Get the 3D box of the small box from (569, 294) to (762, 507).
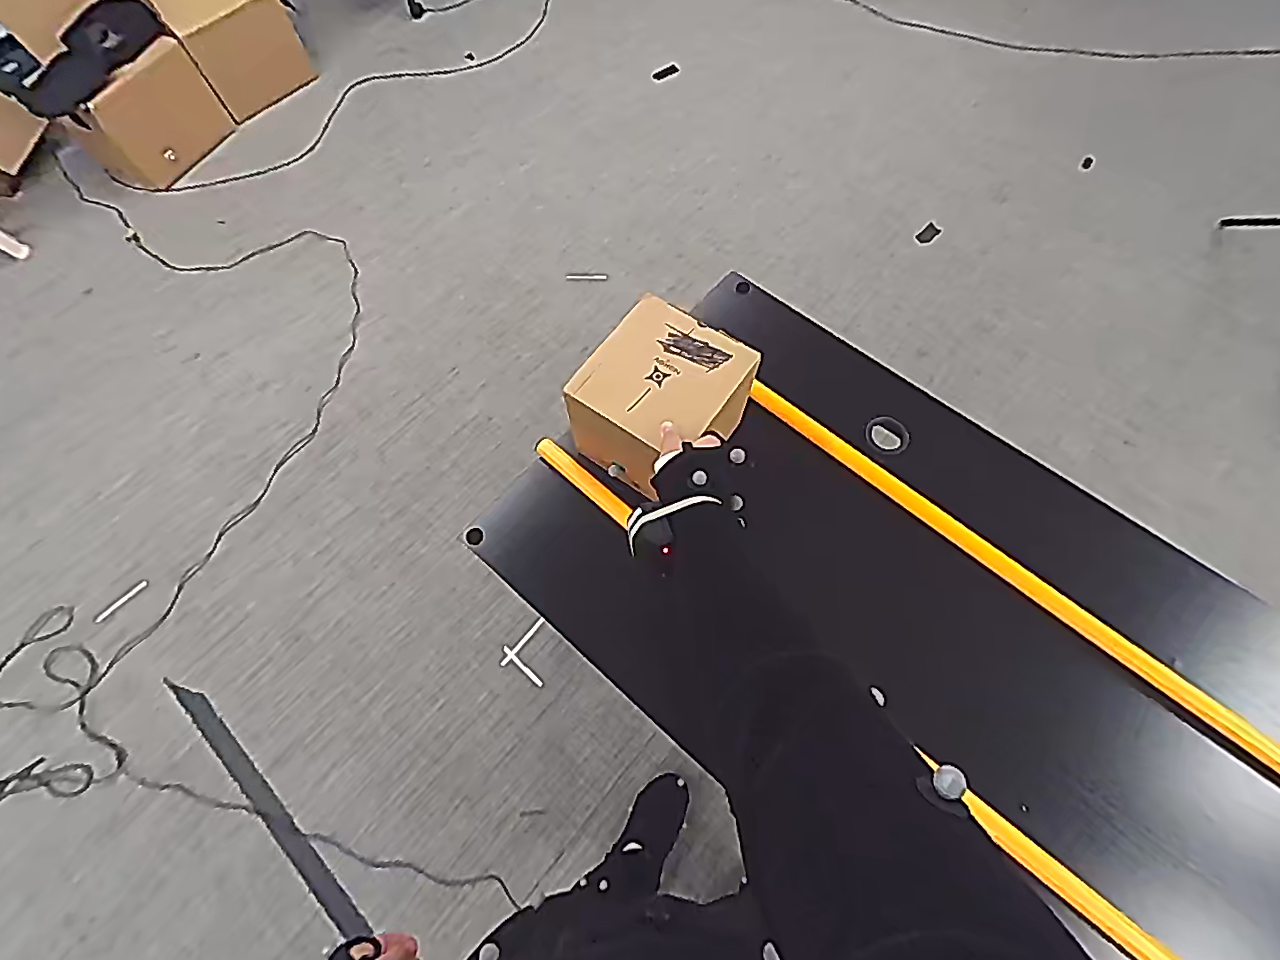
[{"bbox_3d":[0.031,-0.095,0.704,0.168,0.176,0.179,33,72,14],"label":"small box"}]
